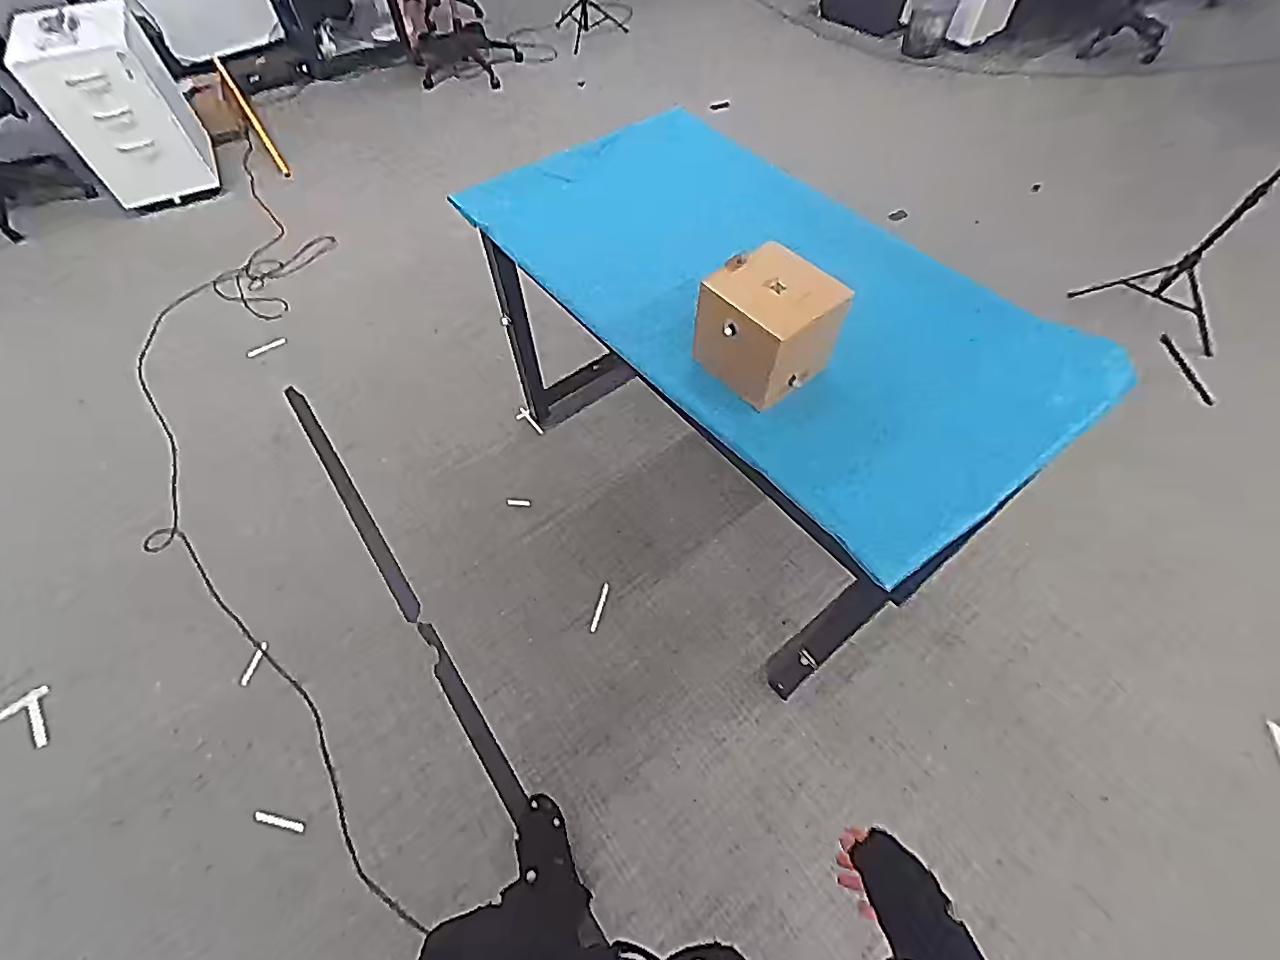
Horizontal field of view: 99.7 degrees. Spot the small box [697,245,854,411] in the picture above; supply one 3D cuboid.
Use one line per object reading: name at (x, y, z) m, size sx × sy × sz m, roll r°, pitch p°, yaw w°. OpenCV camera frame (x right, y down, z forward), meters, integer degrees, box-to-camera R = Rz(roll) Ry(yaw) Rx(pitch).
small box at (0.209, -0.247, 0.895) m, size 0.168 × 0.176 × 0.179 m, roll -35°, pitch 63°, yaw -19°
